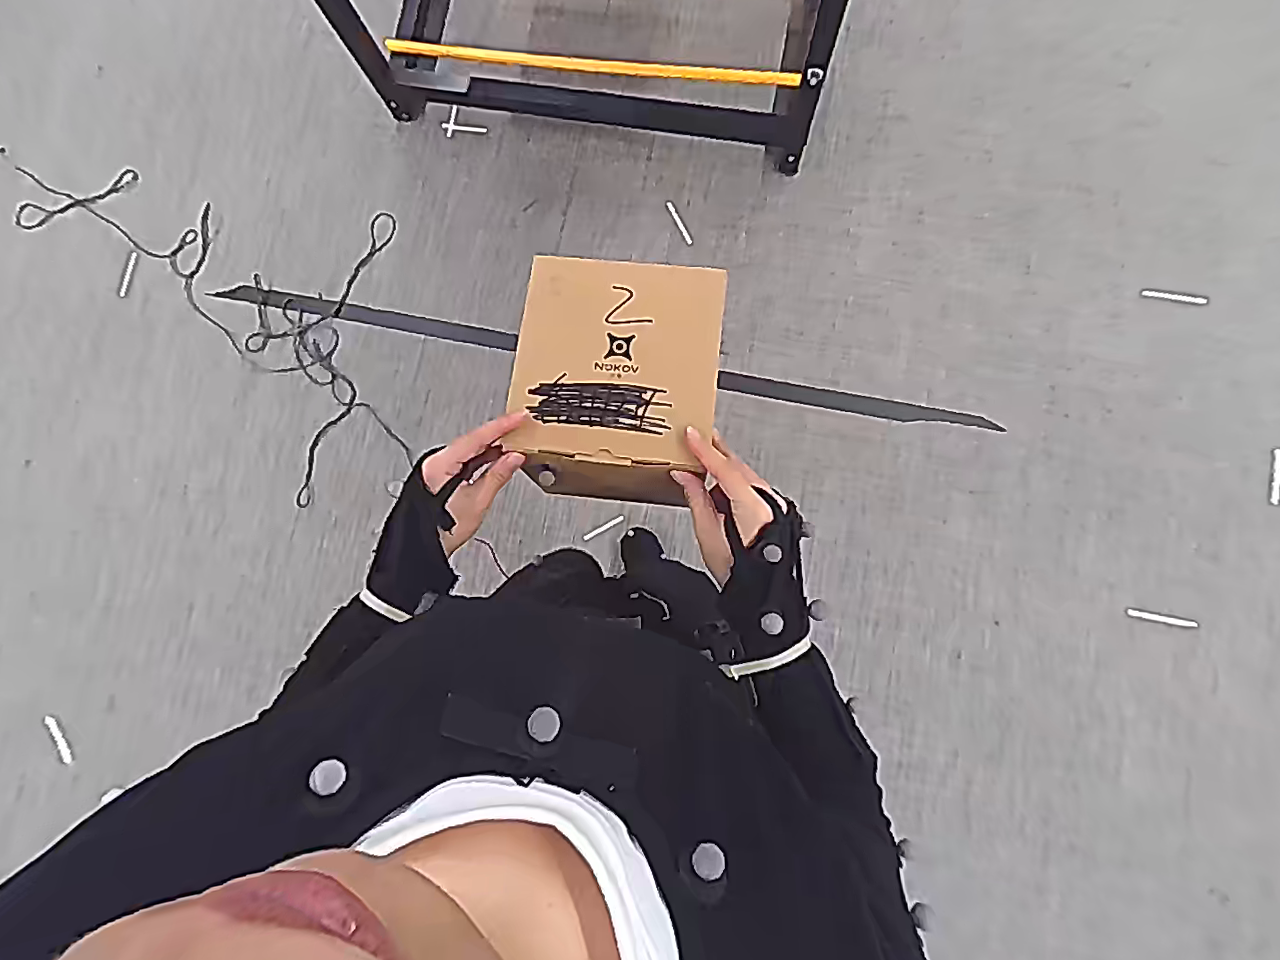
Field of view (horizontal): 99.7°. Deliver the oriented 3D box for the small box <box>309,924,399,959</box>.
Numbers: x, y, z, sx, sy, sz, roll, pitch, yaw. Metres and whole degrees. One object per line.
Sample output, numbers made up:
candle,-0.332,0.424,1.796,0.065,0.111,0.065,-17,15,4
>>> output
small box,-0.650,1.118,1.163,0.168,0.176,0.179,14,85,6
